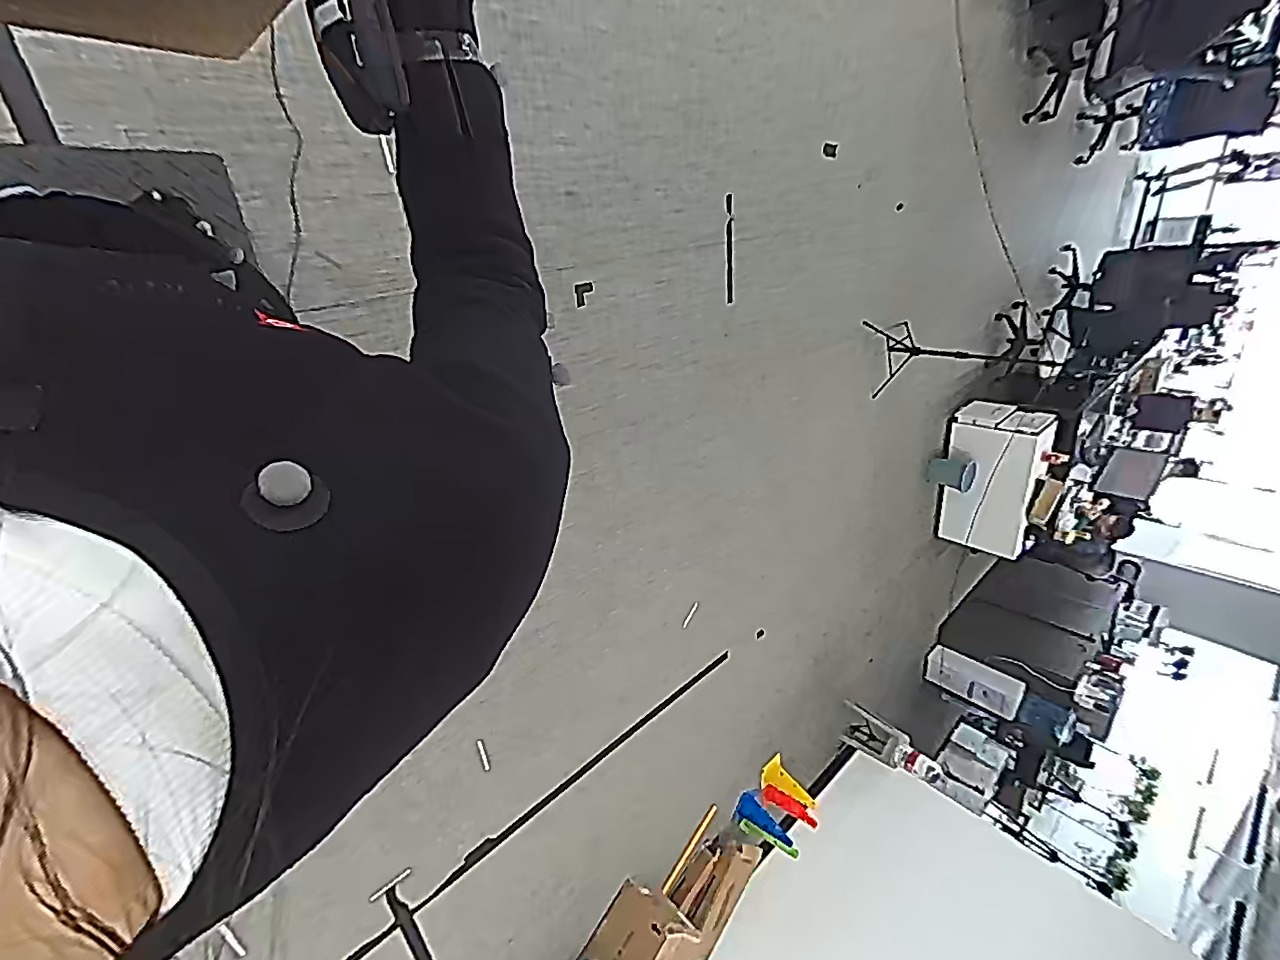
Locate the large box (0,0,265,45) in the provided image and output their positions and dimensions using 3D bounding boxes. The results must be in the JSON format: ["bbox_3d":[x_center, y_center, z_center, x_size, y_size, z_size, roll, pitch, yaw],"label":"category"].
[{"bbox_3d":[-0.415,-0.412,0.201,0.408,0.320,0.320,-21,125,-37],"label":"large box"}]

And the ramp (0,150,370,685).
[{"bbox_3d":[-0.964,-0.126,1.109,0.509,0.206,0.991,-23,118,-34],"label":"ramp"}]
